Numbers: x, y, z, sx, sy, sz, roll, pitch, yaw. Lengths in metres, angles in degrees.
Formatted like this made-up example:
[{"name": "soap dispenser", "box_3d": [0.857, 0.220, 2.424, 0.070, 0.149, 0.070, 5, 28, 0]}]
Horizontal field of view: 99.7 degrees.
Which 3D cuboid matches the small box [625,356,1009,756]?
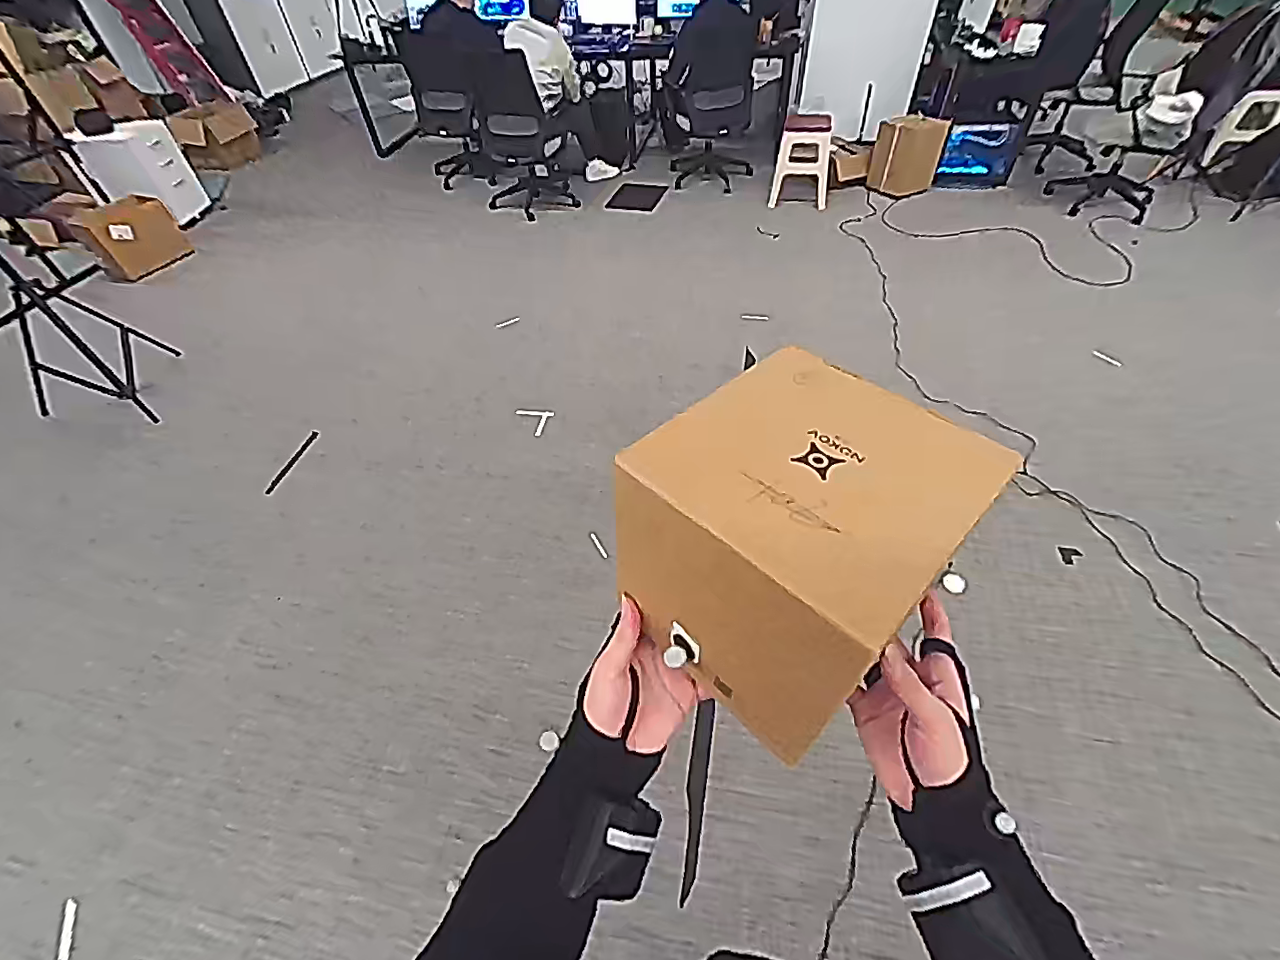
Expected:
[{"name": "small box", "box_3d": [0.104, 0.048, 0.377, 0.168, 0.176, 0.179, 36, 56, 29]}]
